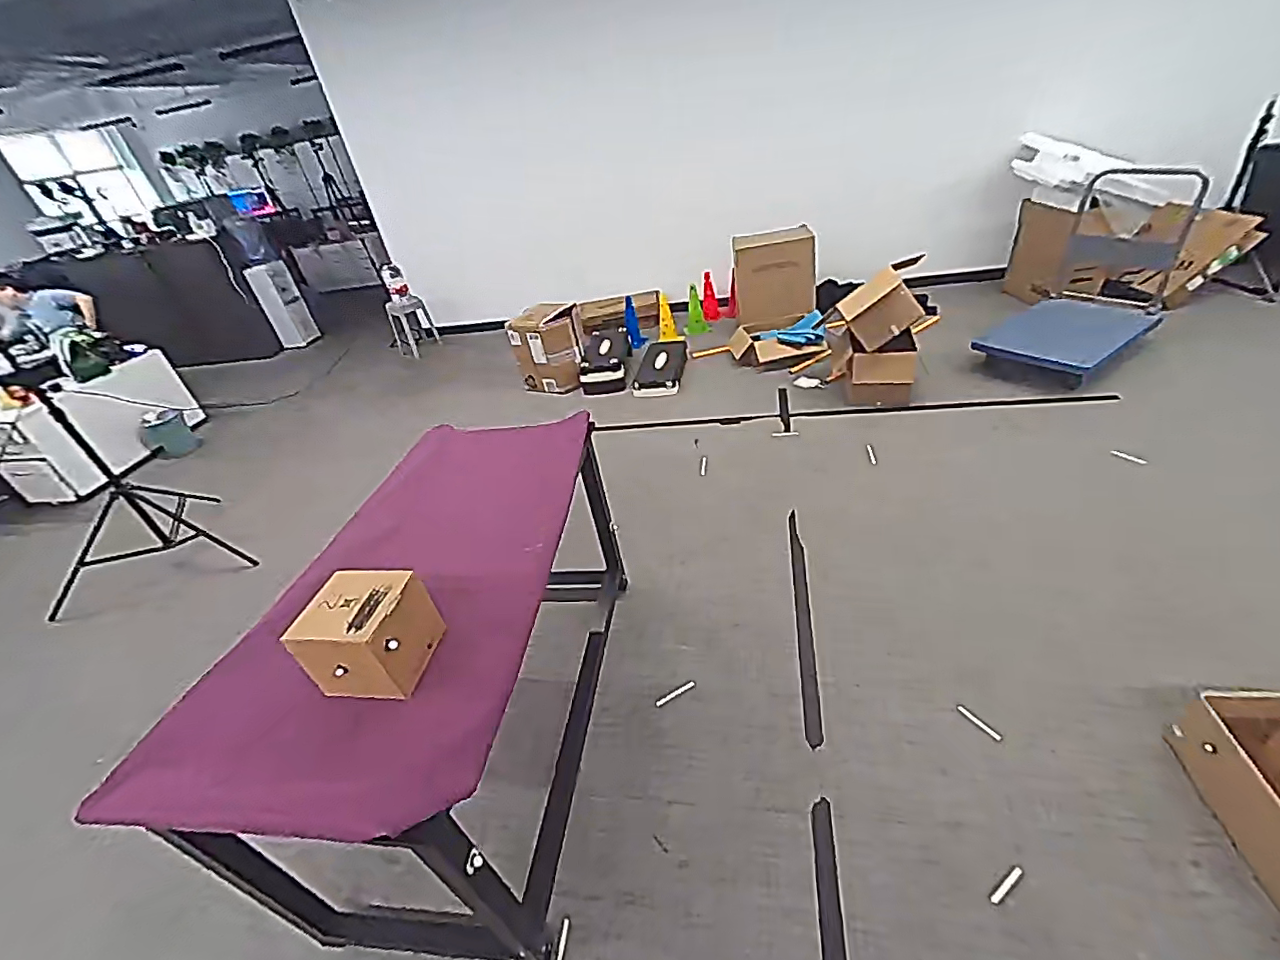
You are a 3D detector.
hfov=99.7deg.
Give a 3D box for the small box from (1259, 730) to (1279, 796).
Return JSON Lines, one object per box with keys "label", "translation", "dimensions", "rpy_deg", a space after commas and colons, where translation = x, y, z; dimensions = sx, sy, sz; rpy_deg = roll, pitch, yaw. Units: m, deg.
{"label": "small box", "translation": [1.518, 0.654, 1.167], "dimensions": [0.179, 0.176, 0.168], "rpy_deg": [-4, 37, 10]}
